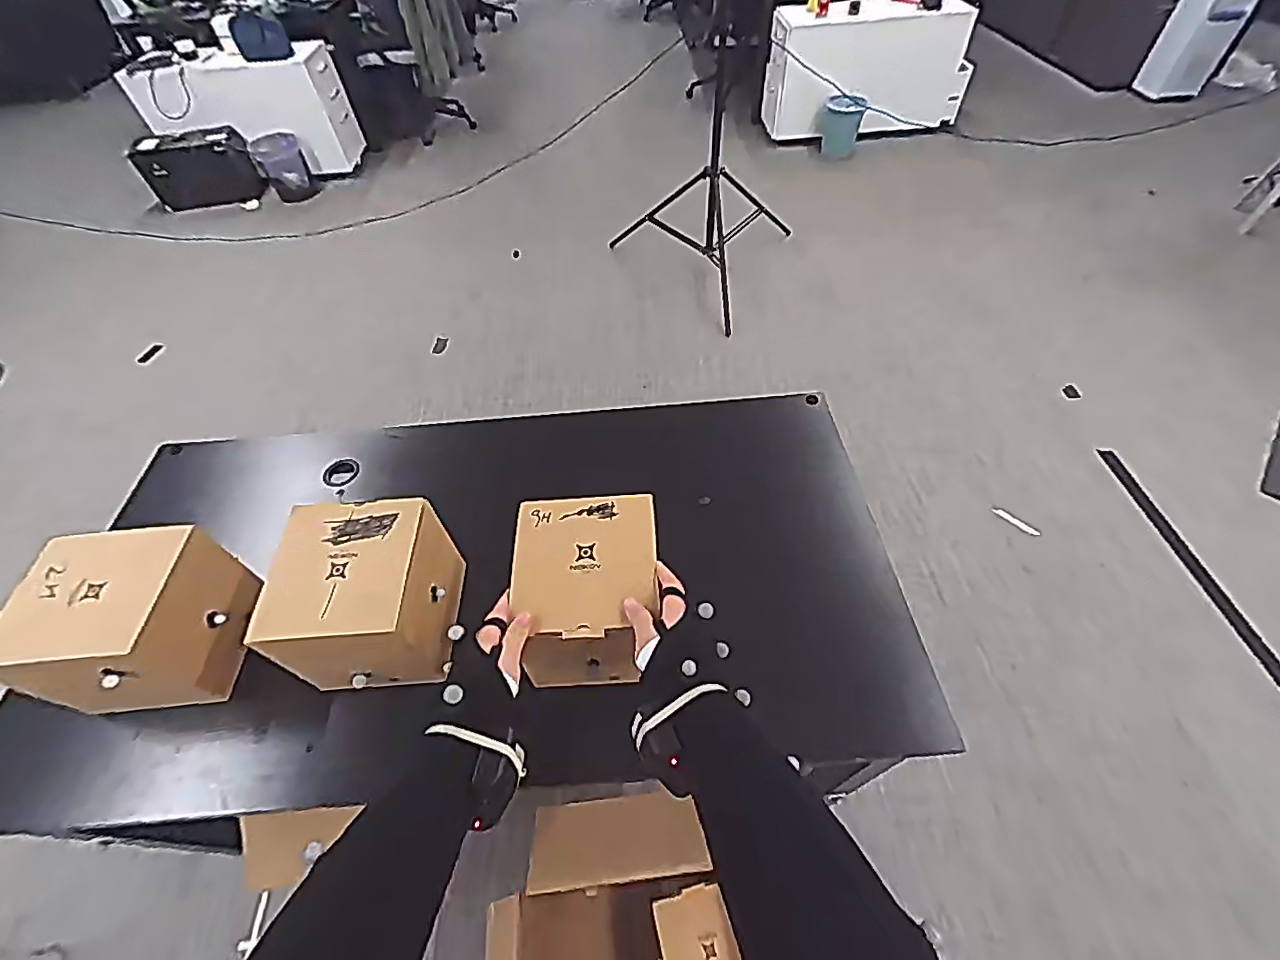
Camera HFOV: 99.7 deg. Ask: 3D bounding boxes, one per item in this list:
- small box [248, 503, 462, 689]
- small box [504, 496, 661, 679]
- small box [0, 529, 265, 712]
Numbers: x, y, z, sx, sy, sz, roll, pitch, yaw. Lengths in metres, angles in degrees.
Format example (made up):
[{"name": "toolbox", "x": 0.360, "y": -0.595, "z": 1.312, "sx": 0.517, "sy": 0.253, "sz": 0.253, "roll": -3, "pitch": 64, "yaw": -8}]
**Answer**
[{"name": "small box", "x": -0.340, "y": 0.150, "z": 0.690, "sx": 0.168, "sy": 0.176, "sz": 0.179, "roll": -4, "pitch": 52, "yaw": 0}, {"name": "small box", "x": -0.061, "y": 0.142, "z": 0.682, "sx": 0.168, "sy": 0.176, "sz": 0.179, "roll": -4, "pitch": 52, "yaw": 1}, {"name": "small box", "x": -0.623, "y": 0.179, "z": 0.681, "sx": 0.179, "sy": 0.176, "sz": 0.168, "roll": -5, "pitch": 51, "yaw": -1}]
